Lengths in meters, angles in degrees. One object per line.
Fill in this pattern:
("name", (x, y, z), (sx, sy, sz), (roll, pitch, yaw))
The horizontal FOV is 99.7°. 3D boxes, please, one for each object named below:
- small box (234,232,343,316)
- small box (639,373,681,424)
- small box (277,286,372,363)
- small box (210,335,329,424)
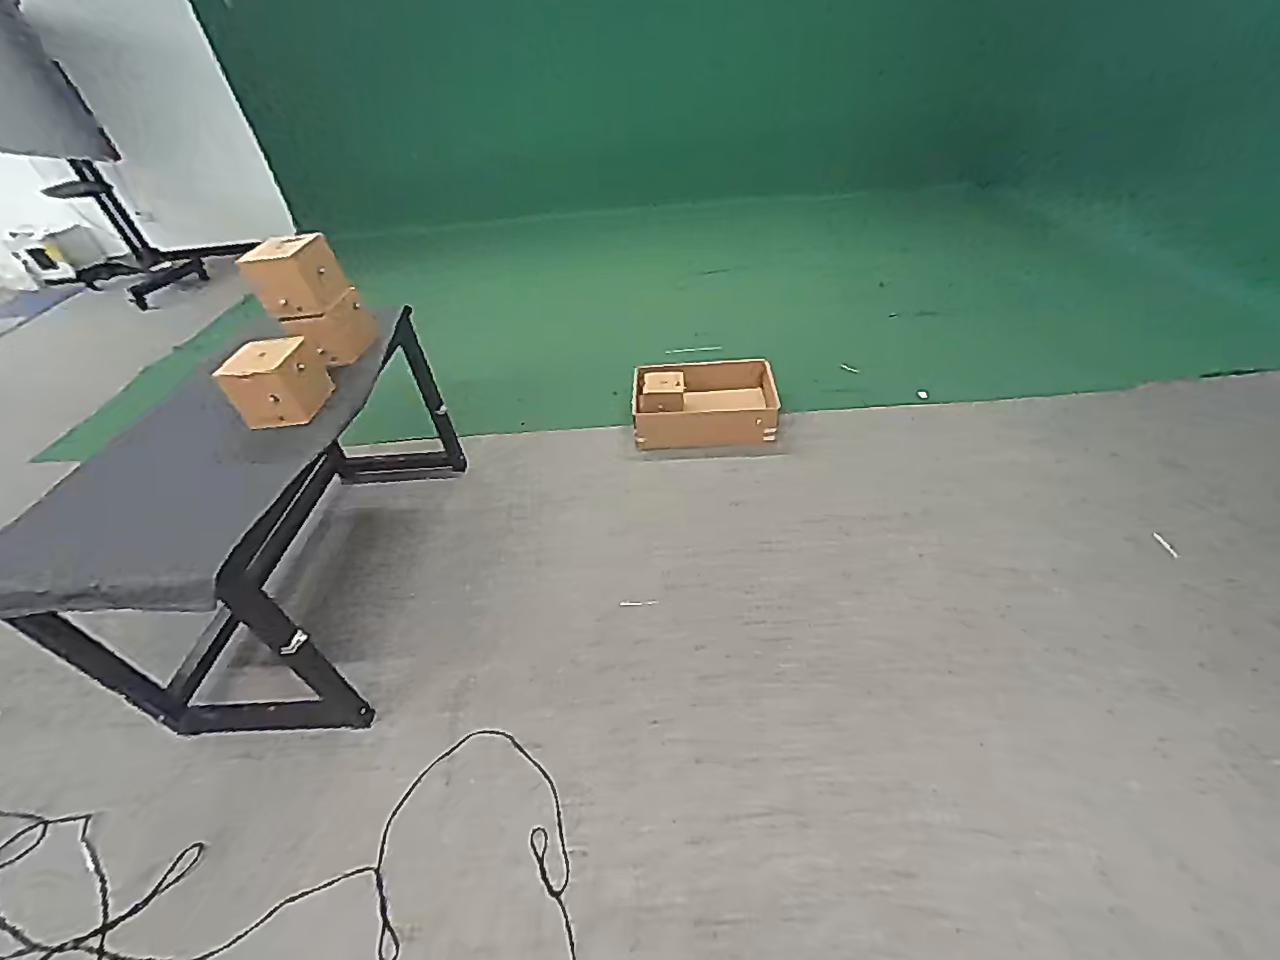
("small box", (-0.982, -0.585, 1.536), (0.168, 0.176, 0.179), (-2, 44, 7))
("small box", (0.094, -0.363, 2.434), (0.179, 0.176, 0.168), (-2, 43, 5))
("small box", (-0.954, -0.474, 1.655), (0.168, 0.176, 0.179), (-2, 43, 8))
("small box", (-0.961, -0.259, 1.425), (0.168, 0.176, 0.179), (-4, 41, 3))
